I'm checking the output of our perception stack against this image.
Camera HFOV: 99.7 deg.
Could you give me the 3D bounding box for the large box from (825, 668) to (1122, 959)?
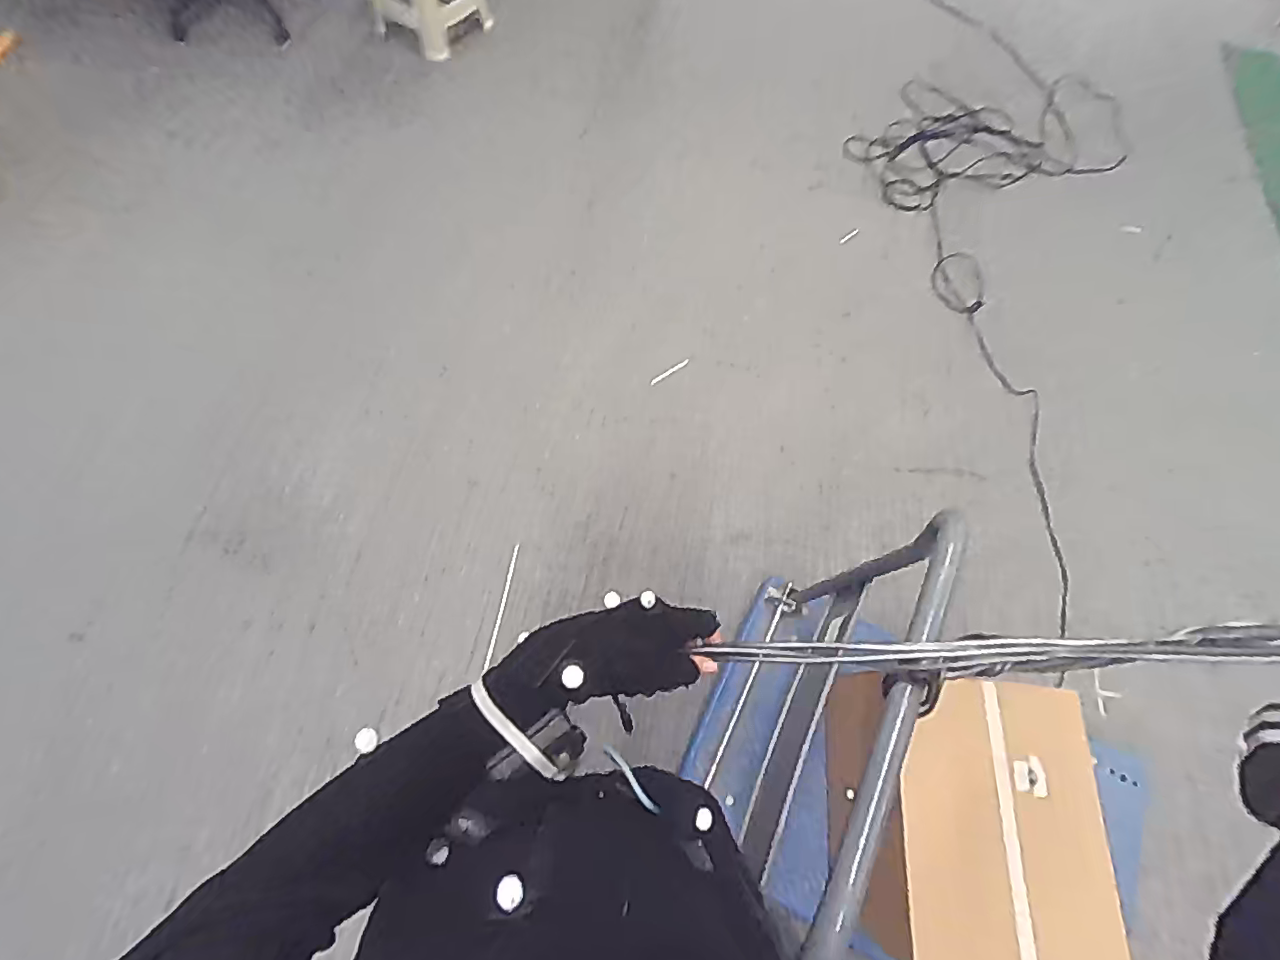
[{"bbox_3d":[0.540,0.572,0.968,0.320,0.320,0.408,7,67,-1],"label":"large box"}]
